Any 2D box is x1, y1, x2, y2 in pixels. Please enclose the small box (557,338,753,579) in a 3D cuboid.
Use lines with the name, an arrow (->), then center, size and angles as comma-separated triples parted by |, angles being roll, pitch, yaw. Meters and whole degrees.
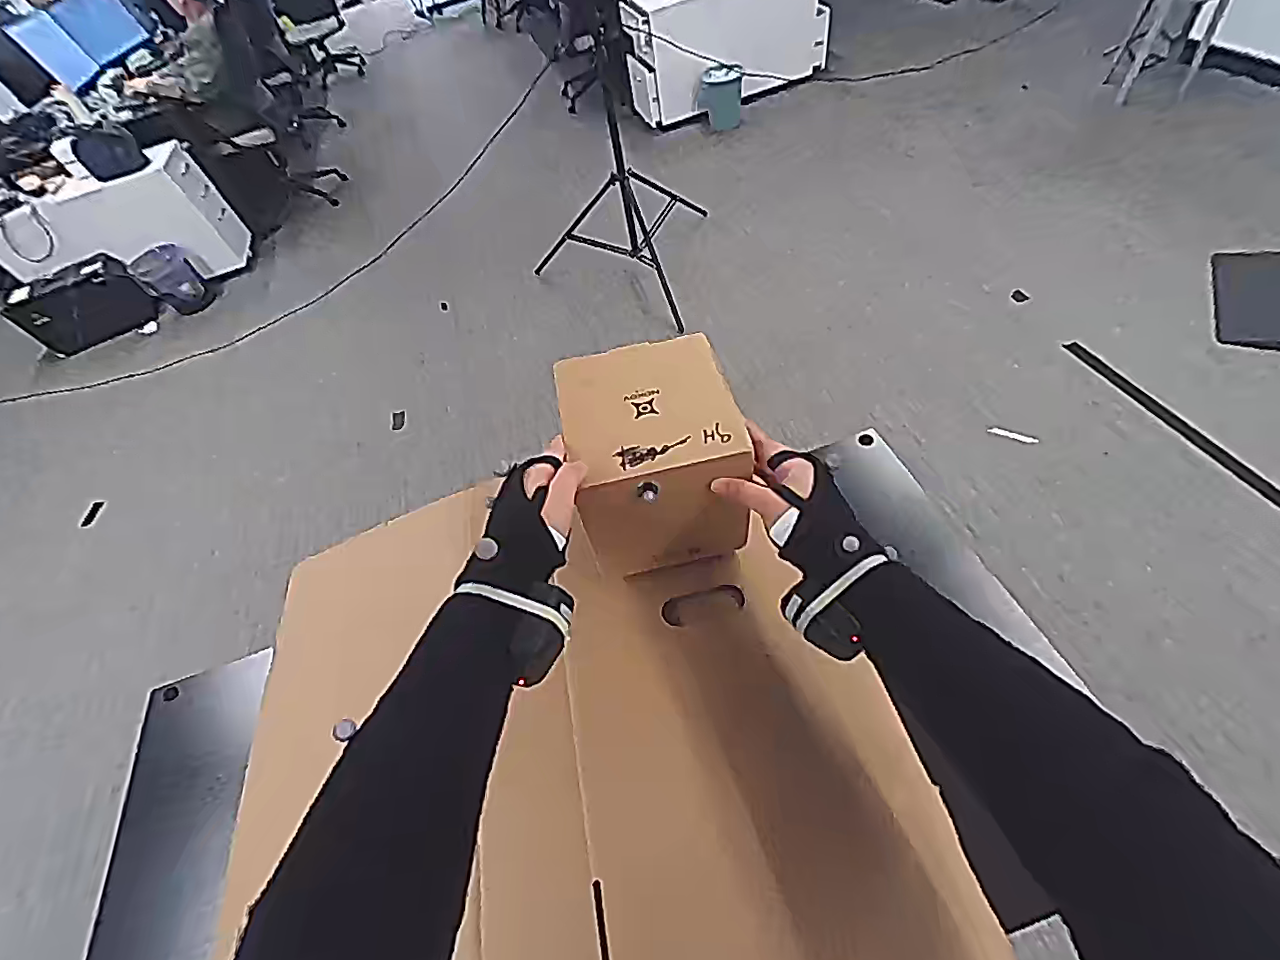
small box -> 0.014, -0.021, 0.583 | 0.168, 0.176, 0.179 | -13, 51, -1
